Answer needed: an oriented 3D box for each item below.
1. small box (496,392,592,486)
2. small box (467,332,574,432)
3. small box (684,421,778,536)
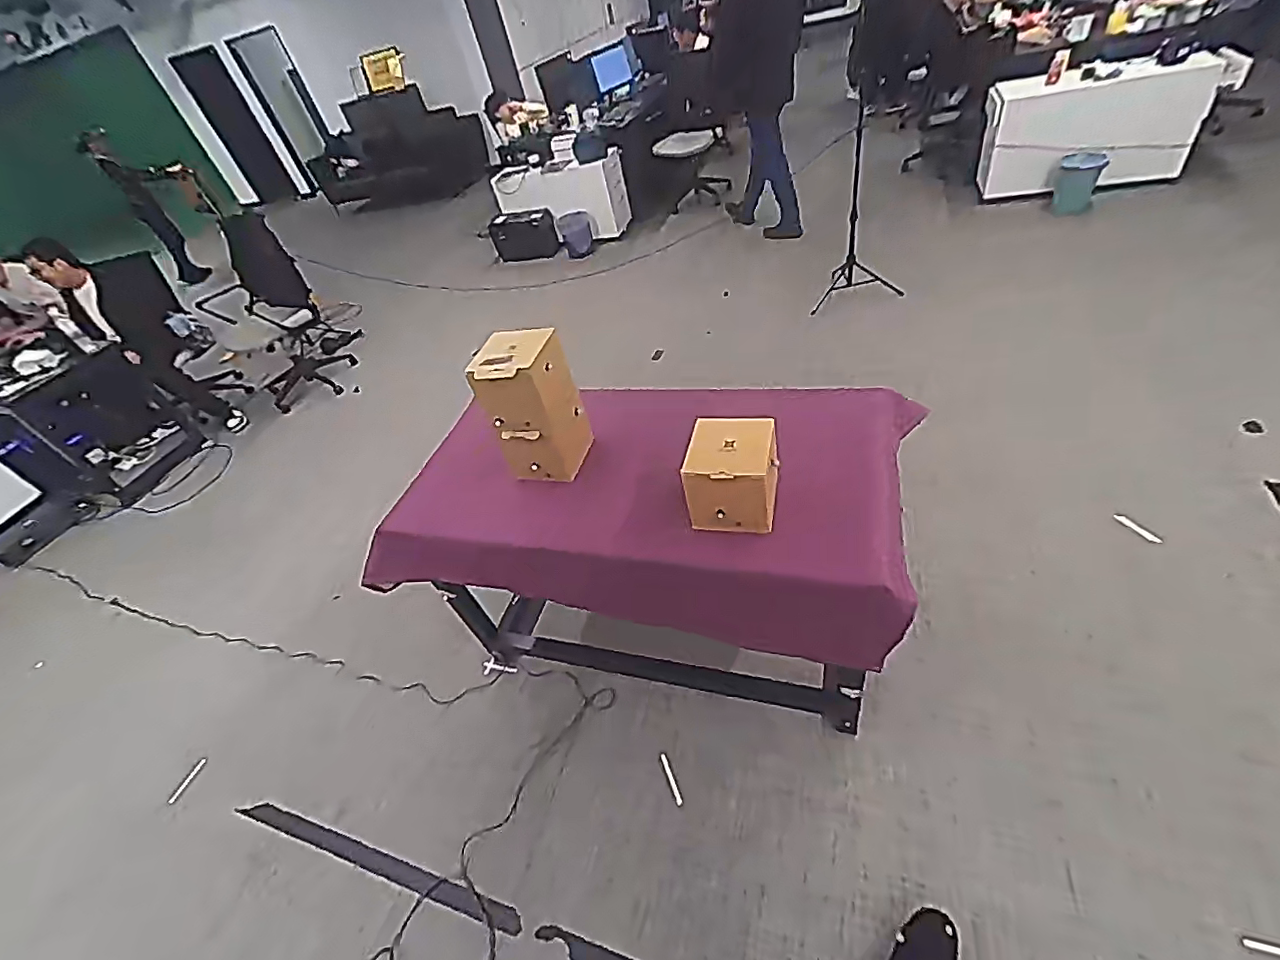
[{"bbox_3d":[-0.235,-0.108,1.387,0.168,0.176,0.179,3,46,21],"label":"small box"},{"bbox_3d":[-0.272,-0.225,1.277,0.168,0.176,0.179,0,44,17],"label":"small box"},{"bbox_3d":[0.199,-0.006,1.142,0.168,0.176,0.179,2,45,19],"label":"small box"}]
